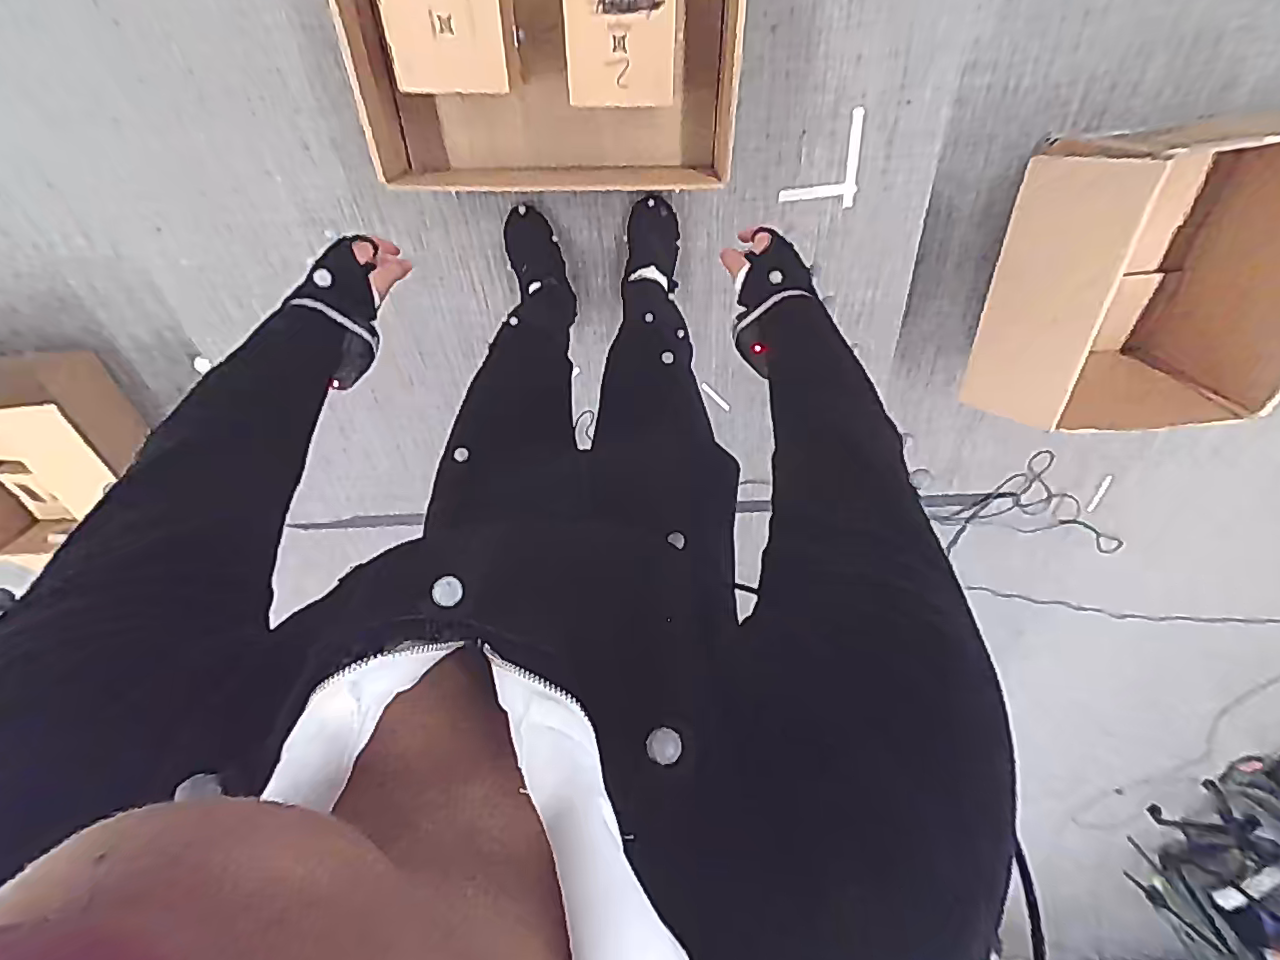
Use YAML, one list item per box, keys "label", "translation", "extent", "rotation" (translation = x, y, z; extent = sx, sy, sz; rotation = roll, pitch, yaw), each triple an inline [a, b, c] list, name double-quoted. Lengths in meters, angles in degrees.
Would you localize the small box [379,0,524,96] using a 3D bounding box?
- label: "small box"
  translation: [-0.294, -0.724, 0.868]
  extent: [0.179, 0.176, 0.168]
  rotation: [-1, 130, -2]
